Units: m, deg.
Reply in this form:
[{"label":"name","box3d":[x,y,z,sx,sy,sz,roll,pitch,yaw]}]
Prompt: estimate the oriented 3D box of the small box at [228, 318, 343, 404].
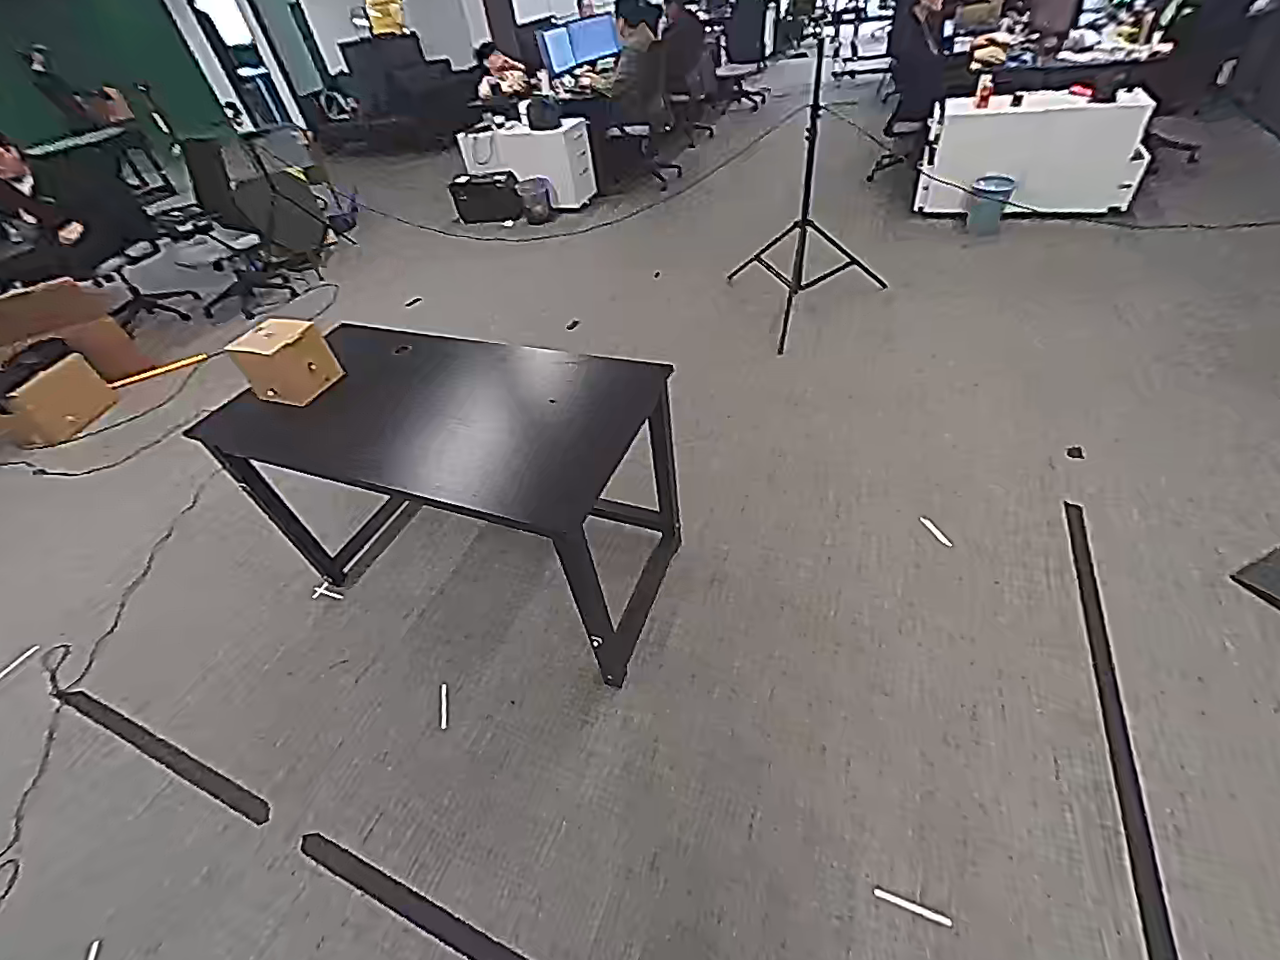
[{"label":"small box","box3d":[-0.982,-0.331,1.517,0.179,0.176,0.168,11,47,18]}]
